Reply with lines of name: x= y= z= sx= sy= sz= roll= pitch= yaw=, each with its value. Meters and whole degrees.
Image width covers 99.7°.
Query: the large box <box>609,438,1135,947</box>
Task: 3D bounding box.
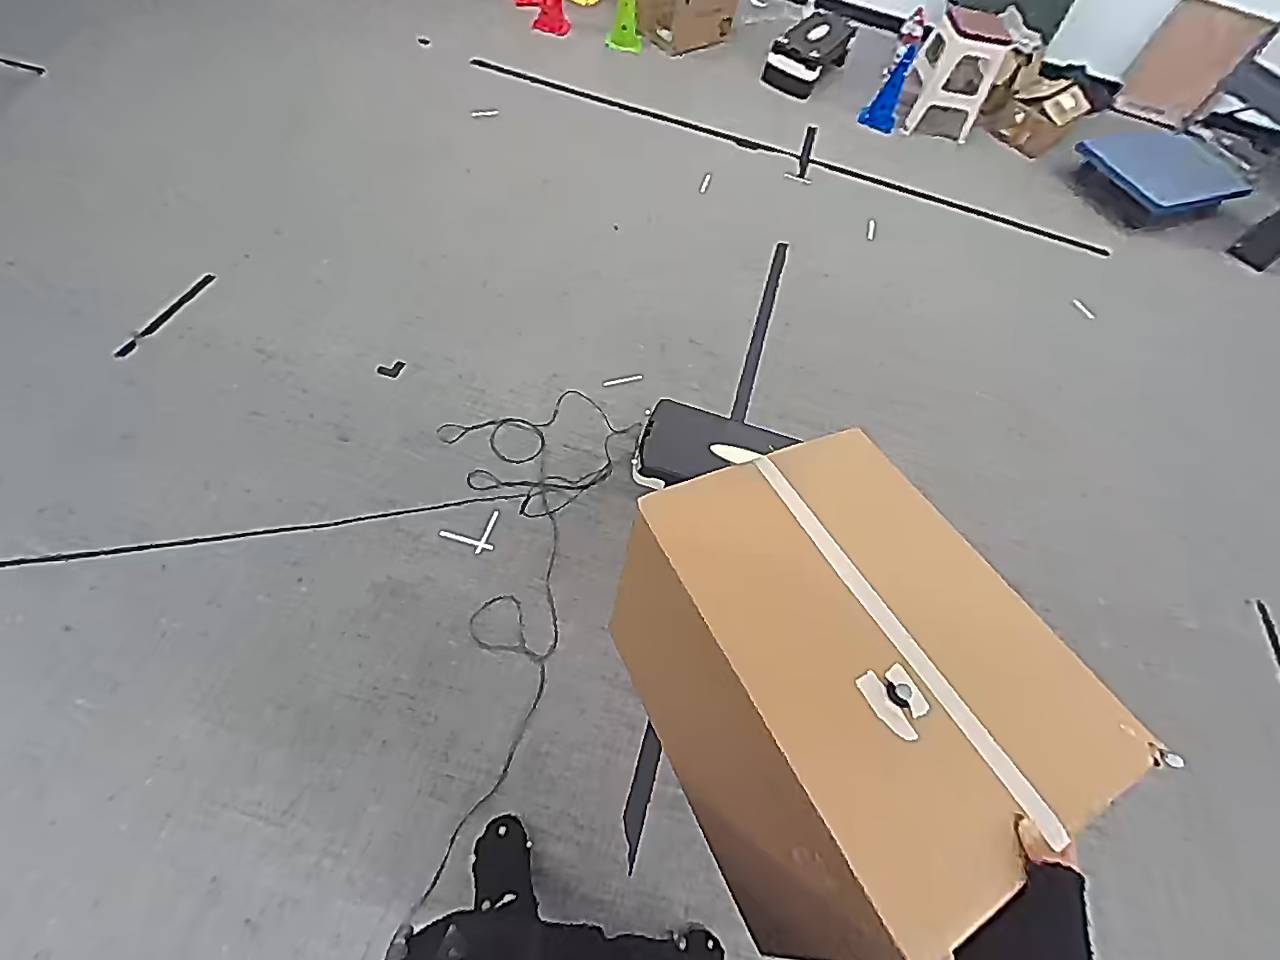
large box: x=0.196 y=0.222 z=0.634 sx=0.320 sy=0.320 sz=0.408 roll=-17 pitch=57 yaw=-22
